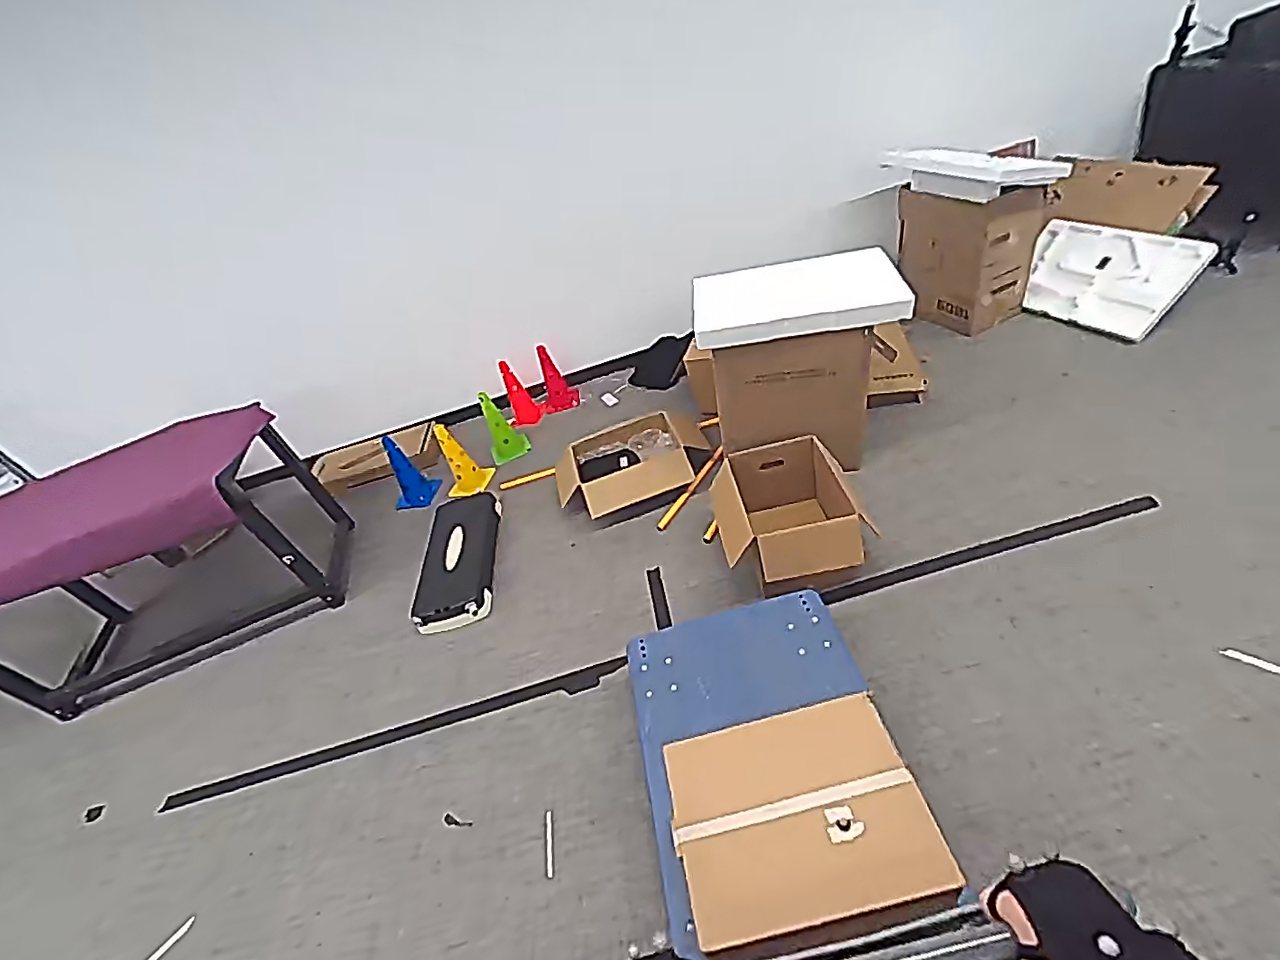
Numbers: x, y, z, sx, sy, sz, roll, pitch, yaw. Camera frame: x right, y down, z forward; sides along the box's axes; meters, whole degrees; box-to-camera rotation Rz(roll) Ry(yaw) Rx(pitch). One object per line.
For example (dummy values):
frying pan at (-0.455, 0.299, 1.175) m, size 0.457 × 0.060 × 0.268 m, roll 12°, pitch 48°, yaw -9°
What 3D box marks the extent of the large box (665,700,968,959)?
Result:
large box at (0.290, 0.667, 0.981) m, size 0.408 × 0.320 × 0.320 m, roll -15°, pitch 39°, yaw 1°
